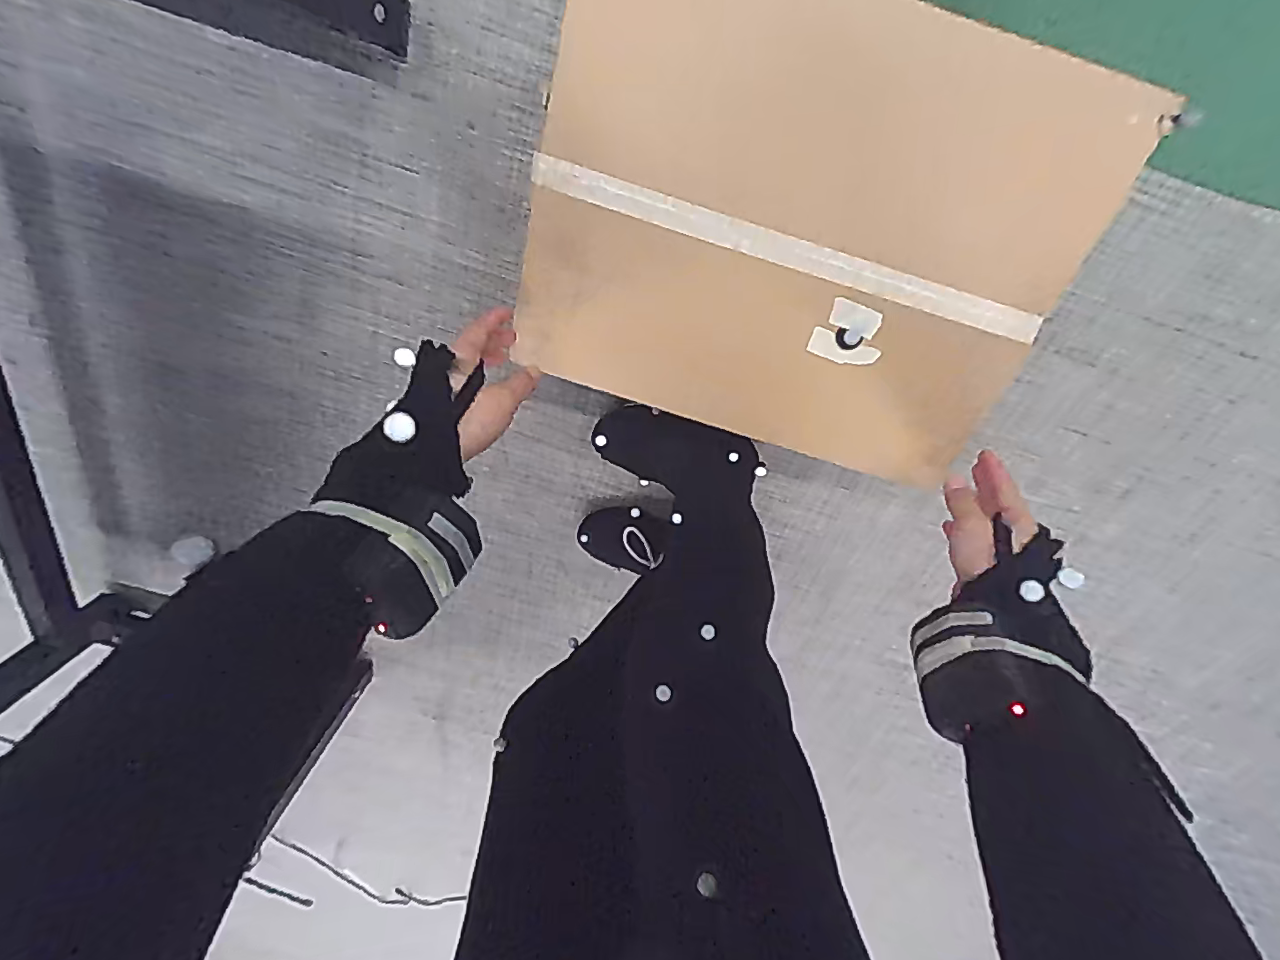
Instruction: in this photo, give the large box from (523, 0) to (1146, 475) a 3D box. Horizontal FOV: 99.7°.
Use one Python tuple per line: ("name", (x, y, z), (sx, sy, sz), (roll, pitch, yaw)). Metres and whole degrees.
("large box", (0.131, -0.250, 0.562), (0.408, 0.320, 0.320), (16, 118, -3))
